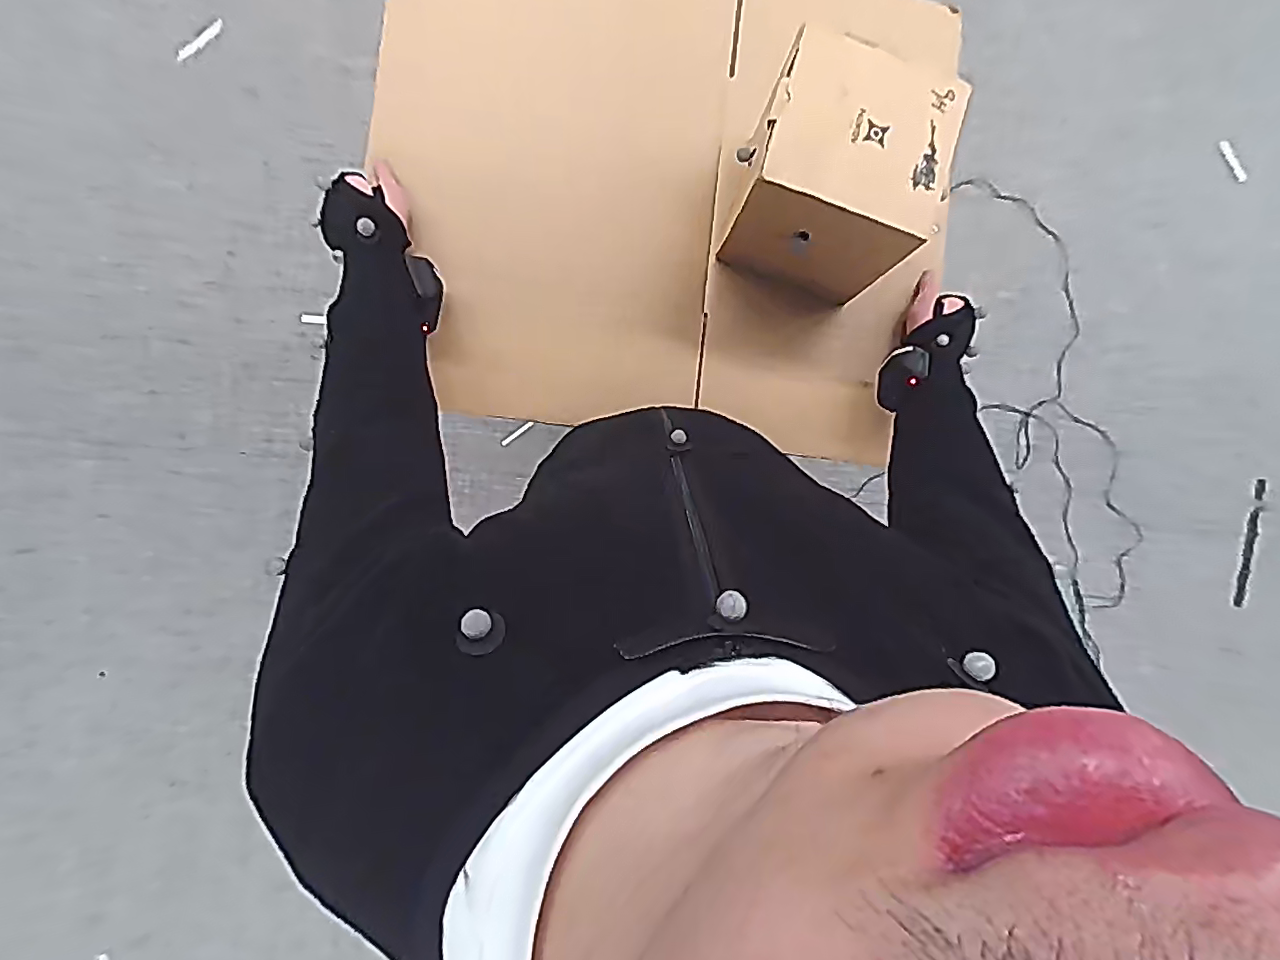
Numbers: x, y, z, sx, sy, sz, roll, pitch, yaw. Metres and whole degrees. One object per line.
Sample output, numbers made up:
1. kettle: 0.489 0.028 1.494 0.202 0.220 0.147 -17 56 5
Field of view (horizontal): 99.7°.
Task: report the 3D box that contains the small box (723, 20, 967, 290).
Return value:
1. small box: 0.207 -0.334 0.595 0.179 0.176 0.168 17 87 -4
